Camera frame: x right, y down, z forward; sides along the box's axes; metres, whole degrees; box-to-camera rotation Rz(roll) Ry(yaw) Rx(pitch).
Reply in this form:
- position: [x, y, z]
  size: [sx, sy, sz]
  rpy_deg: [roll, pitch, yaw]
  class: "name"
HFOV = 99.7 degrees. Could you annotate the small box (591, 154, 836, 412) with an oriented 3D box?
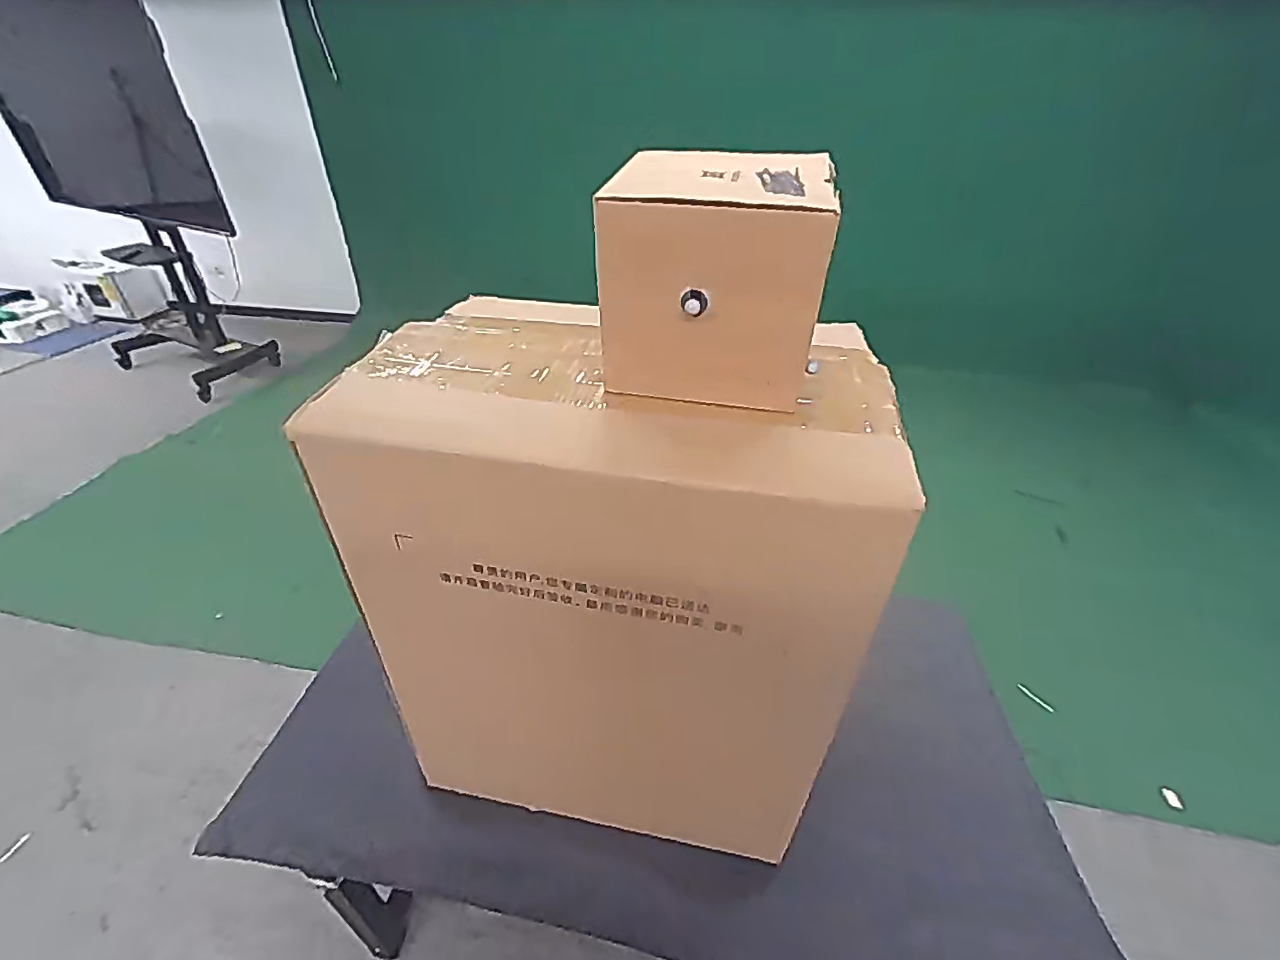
- position: [0.067, -0.178, 0.490]
  size: [0.179, 0.176, 0.168]
  rpy_deg: [8, 42, 10]
  class: "small box"
